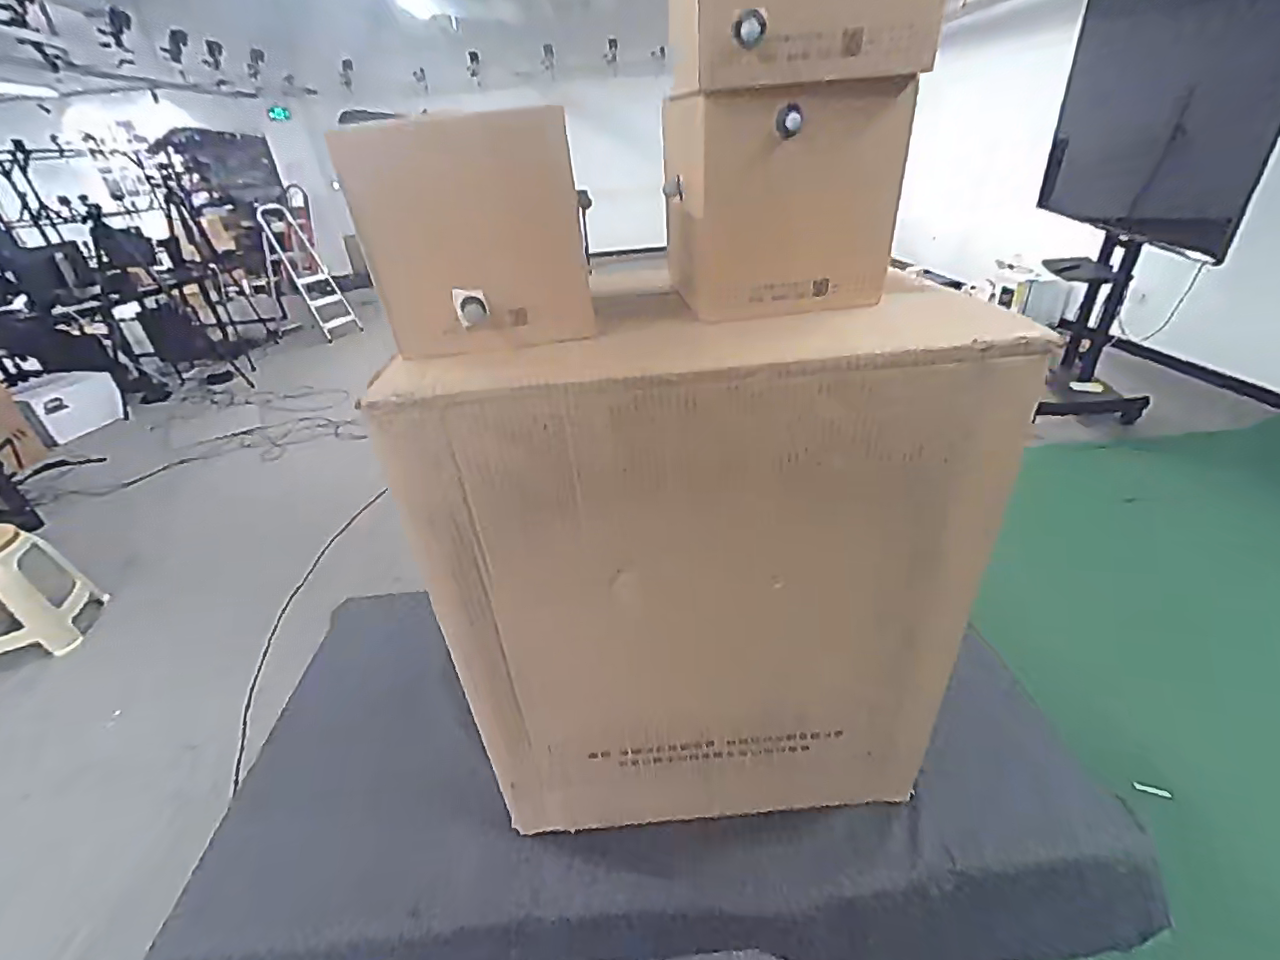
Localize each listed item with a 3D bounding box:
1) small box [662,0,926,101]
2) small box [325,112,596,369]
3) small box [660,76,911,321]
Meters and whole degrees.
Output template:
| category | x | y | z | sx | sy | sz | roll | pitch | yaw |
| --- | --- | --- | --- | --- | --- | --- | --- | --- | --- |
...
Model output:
| category | x | y | z | sx | sy | sz | roll | pitch | yaw |
| --- | --- | --- | --- | --- | --- | --- | --- | --- | --- |
| small box | 0.104 | -0.388 | 0.400 | 0.168 | 0.176 | 0.179 | -6 | 33 | 0 |
| small box | -0.136 | -0.215 | 0.482 | 0.168 | 0.176 | 0.179 | -10 | 35 | -2 |
| small box | 0.114 | -0.258 | 0.503 | 0.168 | 0.176 | 0.179 | -9 | 33 | -4 |
